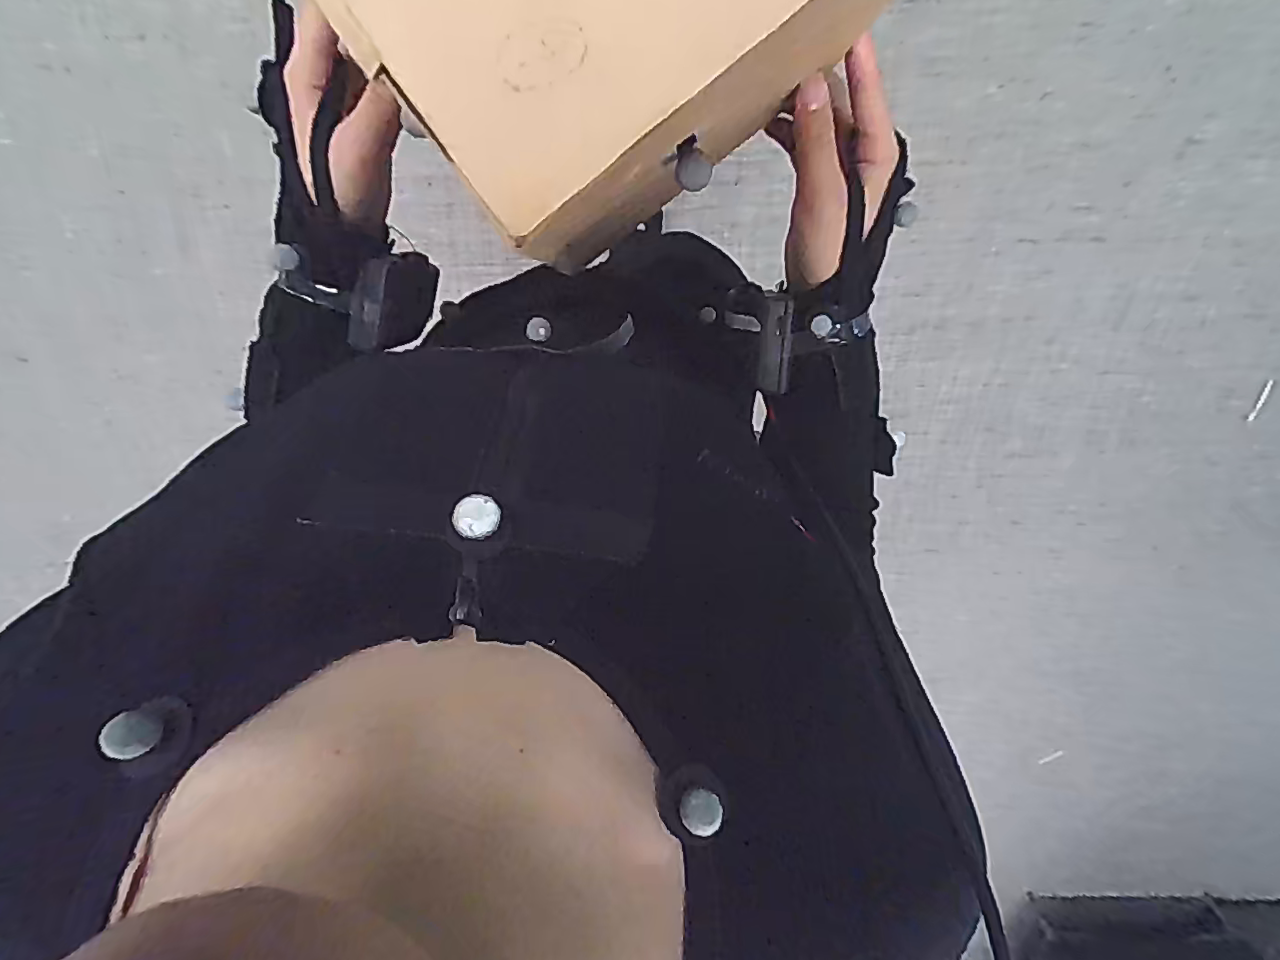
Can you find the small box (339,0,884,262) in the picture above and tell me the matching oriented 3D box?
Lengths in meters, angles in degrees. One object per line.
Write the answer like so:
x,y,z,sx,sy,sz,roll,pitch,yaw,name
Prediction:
-0.012,-0.207,0.210,0.179,0.176,0.168,-34,105,11,small box
